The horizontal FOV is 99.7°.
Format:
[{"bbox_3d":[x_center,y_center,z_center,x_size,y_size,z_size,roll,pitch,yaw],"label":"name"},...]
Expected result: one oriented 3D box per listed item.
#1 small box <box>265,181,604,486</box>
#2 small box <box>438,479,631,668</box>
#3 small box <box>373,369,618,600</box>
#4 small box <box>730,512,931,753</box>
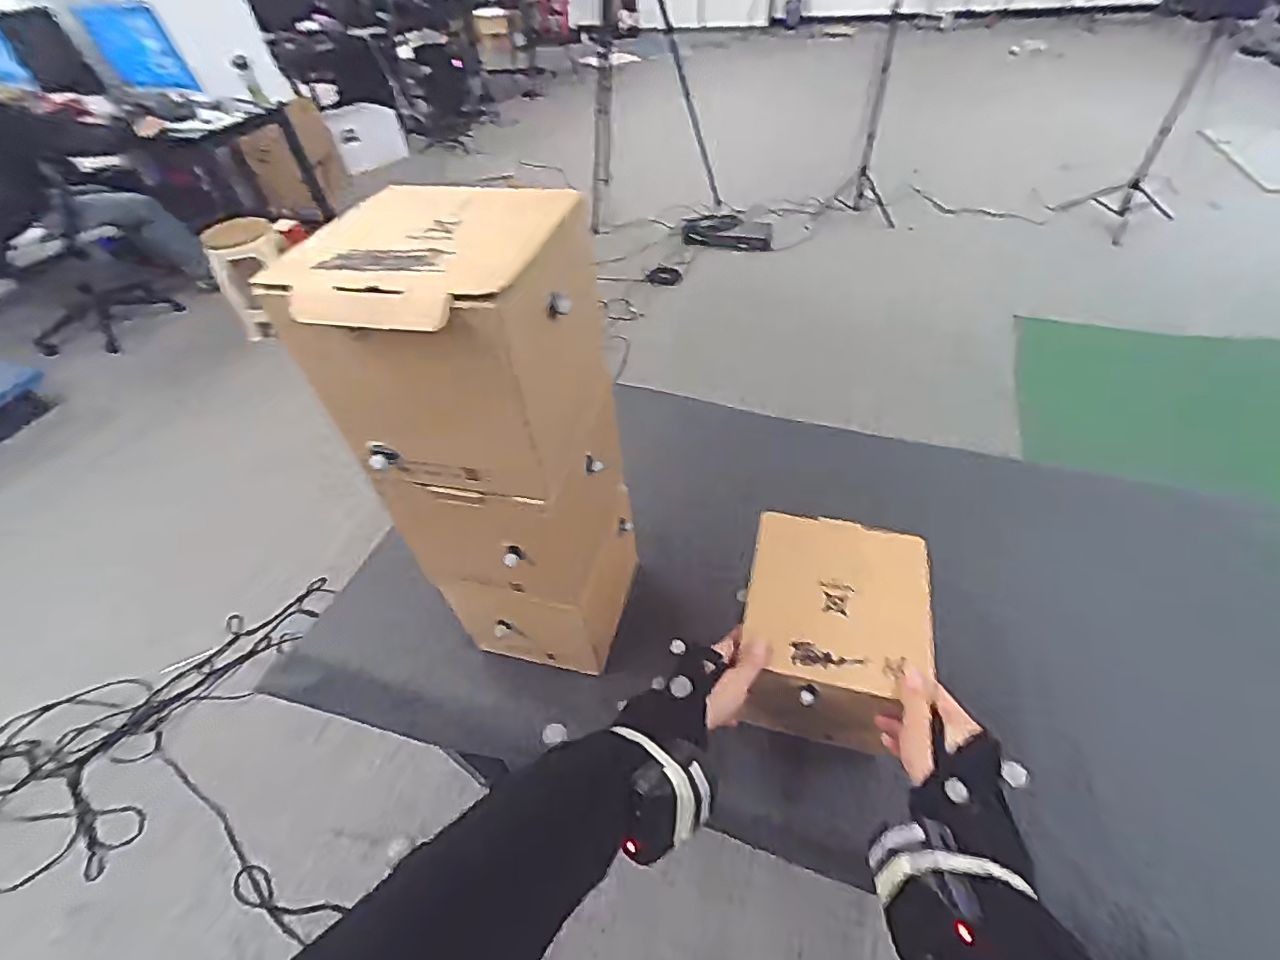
[{"bbox_3d":[-0.130,-0.116,0.429,0.168,0.176,0.179,8,47,10],"label":"small box"},{"bbox_3d":[-0.111,0.107,0.668,0.168,0.176,0.179,9,48,12],"label":"small box"},{"bbox_3d":[-0.123,-0.003,0.548,0.168,0.176,0.179,9,47,11],"label":"small box"},{"bbox_3d":[0.194,0.164,0.581,0.168,0.176,0.179,10,52,13],"label":"small box"}]
